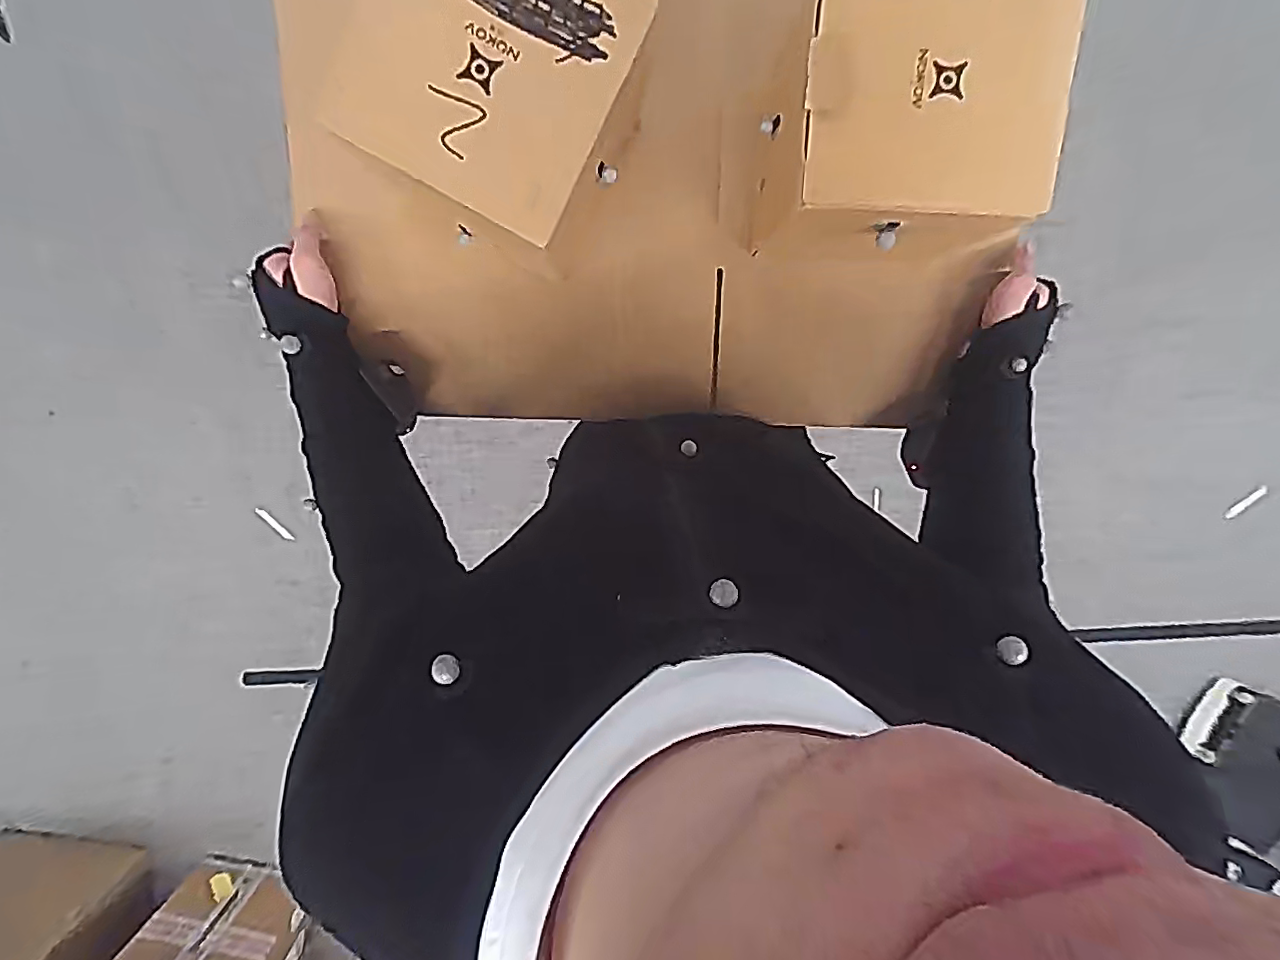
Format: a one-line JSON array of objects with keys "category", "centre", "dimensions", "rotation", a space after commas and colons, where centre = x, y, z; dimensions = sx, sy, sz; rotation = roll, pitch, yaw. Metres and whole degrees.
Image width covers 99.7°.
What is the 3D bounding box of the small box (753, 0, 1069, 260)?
[{"category": "small box", "centre": [0.203, -0.291, 0.456], "dimensions": [0.179, 0.176, 0.168], "rotation": [2, 100, 1]}]
